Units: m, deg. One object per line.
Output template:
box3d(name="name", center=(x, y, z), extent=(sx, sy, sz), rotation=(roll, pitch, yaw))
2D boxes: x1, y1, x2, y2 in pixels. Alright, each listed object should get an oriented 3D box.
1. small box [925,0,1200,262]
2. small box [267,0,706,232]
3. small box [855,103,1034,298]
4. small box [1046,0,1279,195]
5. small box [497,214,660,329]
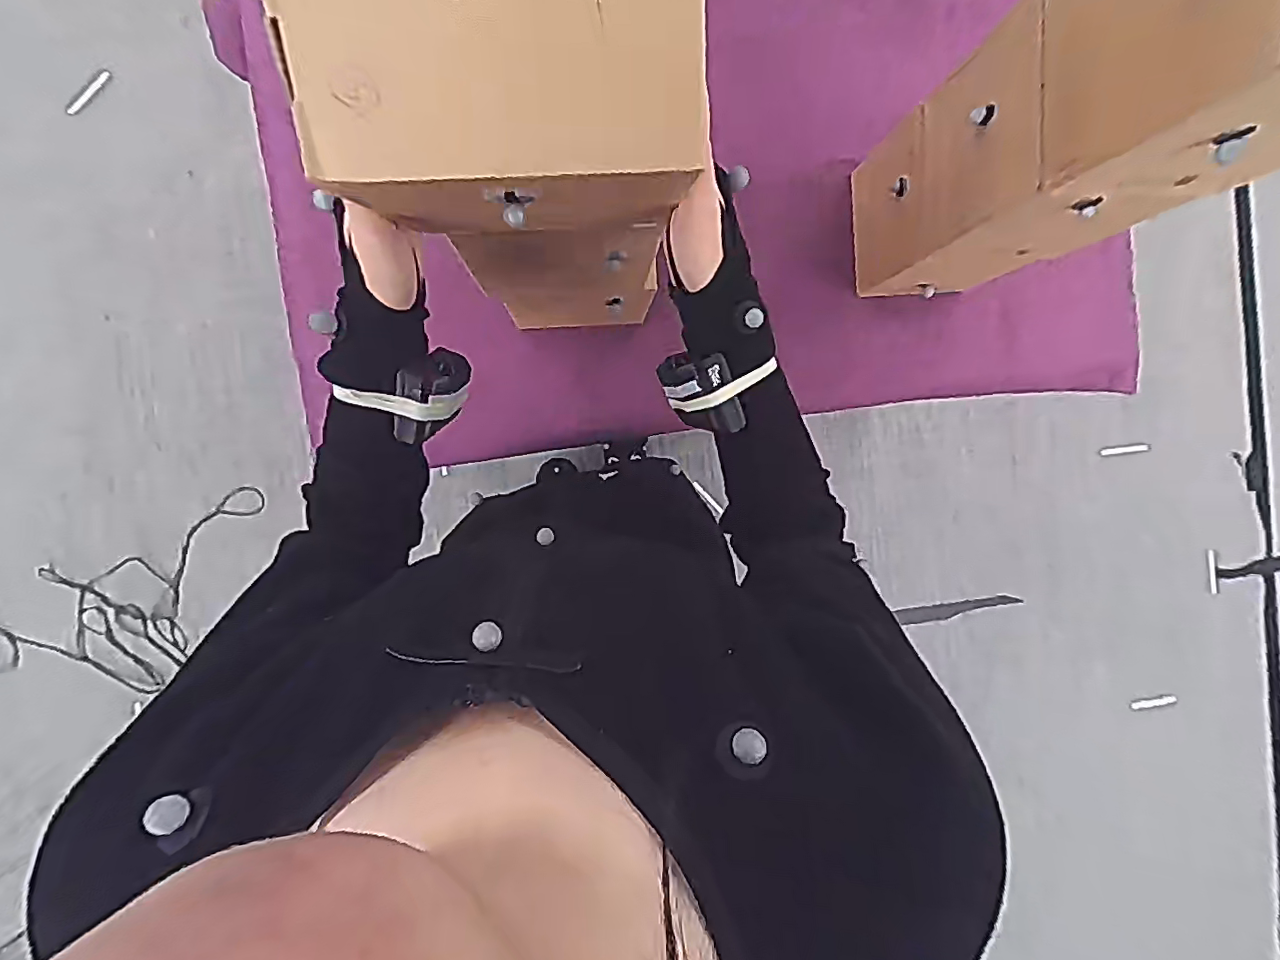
box3d(name="small box", center=(0.410, -0.338, 0.540), extent=(0.168, 0.176, 0.179), rotation=(-2, 93, -4))
box3d(name="small box", center=(-0.065, -0.231, 0.284), extent=(0.179, 0.176, 0.168), rotation=(-4, 109, -3))
box3d(name="small box", center=(0.397, -0.351, 0.703), extent=(0.168, 0.176, 0.179), rotation=(-5, 94, -4))
box3d(name="small box", center=(0.426, -0.322, 0.379), extent=(0.168, 0.176, 0.179), rotation=(-3, 93, -4))
box3d(name="small box", center=(-0.075, -0.288, 0.666), extent=(0.179, 0.176, 0.168), rotation=(-4, 93, -4))
